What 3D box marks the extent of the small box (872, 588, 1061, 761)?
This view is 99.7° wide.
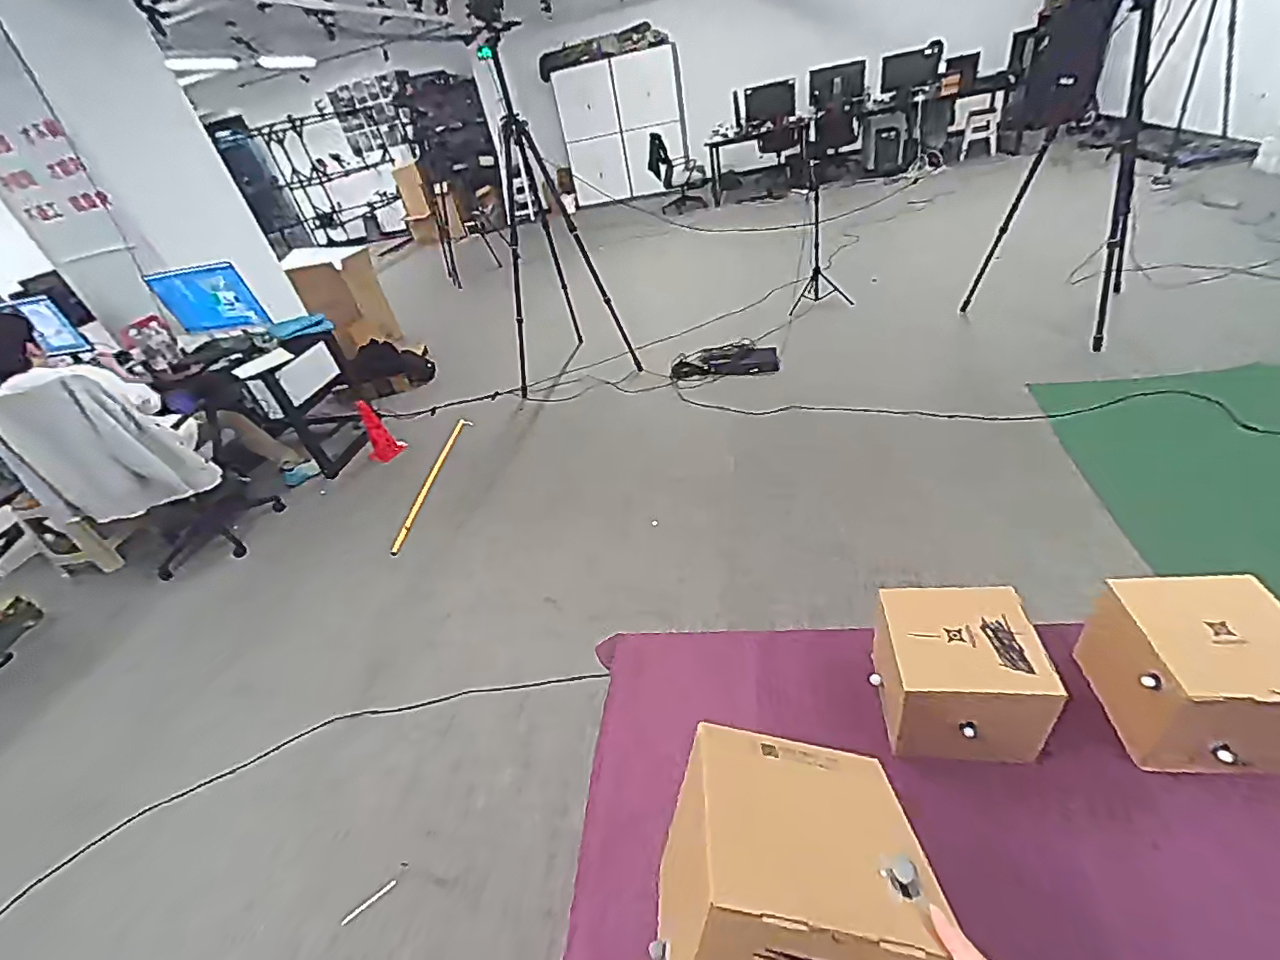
[{"bbox_3d":[0.430,0.268,0.748,0.179,0.176,0.168,-5,37,15],"label":"small box"}]

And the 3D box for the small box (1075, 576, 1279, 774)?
[{"bbox_3d":[0.705,0.244,0.690,0.168,0.176,0.179,-5,38,13],"label":"small box"}]
